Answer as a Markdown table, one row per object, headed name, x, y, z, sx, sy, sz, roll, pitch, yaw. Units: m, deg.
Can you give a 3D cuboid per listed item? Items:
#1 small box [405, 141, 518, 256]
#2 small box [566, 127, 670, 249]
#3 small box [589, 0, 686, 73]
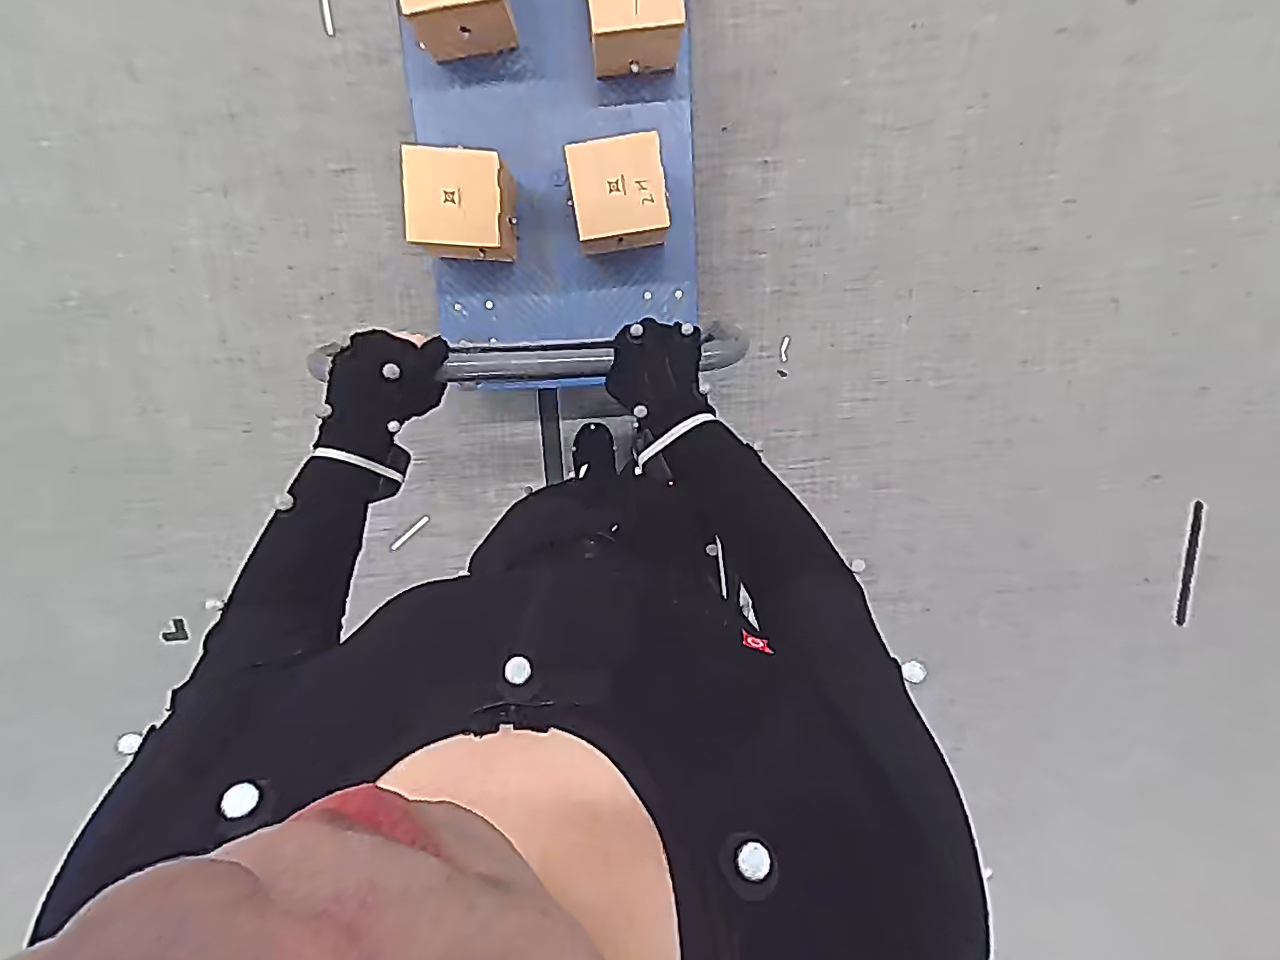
| name | x | y | z | sx | sy | sz | roll | pitch | yaw |
| --- | --- | --- | --- | --- | --- | --- | --- | --- | --- |
| small box | -0.347 | -0.550 | 1.078 | 0.179 | 0.176 | 0.168 | 2 | 104 | -4 |
| small box | -0.041 | -0.572 | 1.082 | 0.179 | 0.176 | 0.168 | -9 | 104 | 1 |
| small box | -0.012 | -0.898 | 1.000 | 0.168 | 0.176 | 0.179 | -6 | 105 | 0 |
